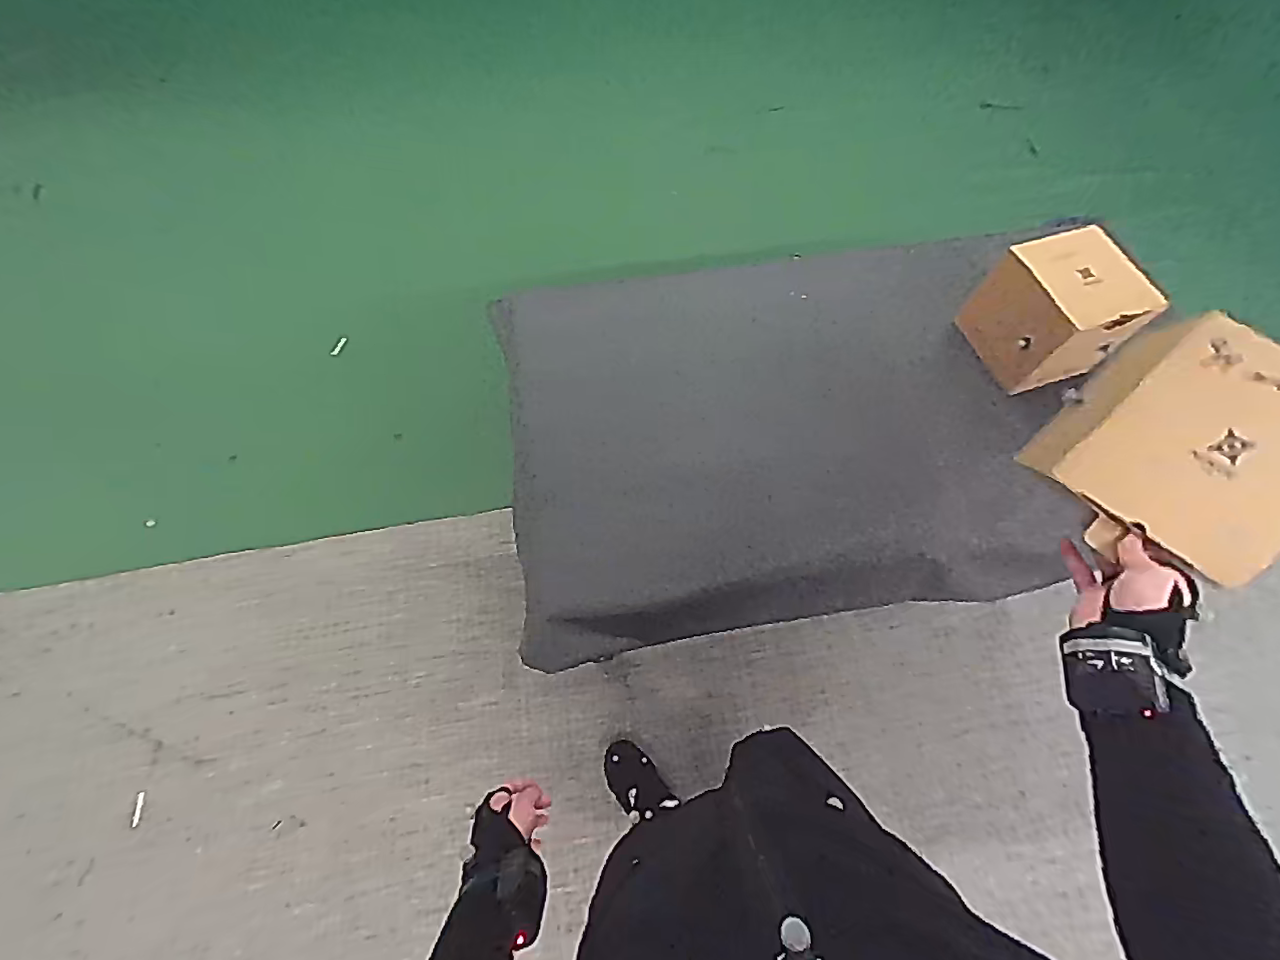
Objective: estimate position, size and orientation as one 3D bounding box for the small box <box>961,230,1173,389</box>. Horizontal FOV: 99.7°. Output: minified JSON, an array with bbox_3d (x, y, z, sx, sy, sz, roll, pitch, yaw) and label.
[{"bbox_3d":[0.681,-0.269,0.888,0.168,0.176,0.179,-16,65,-9],"label":"small box"}]
